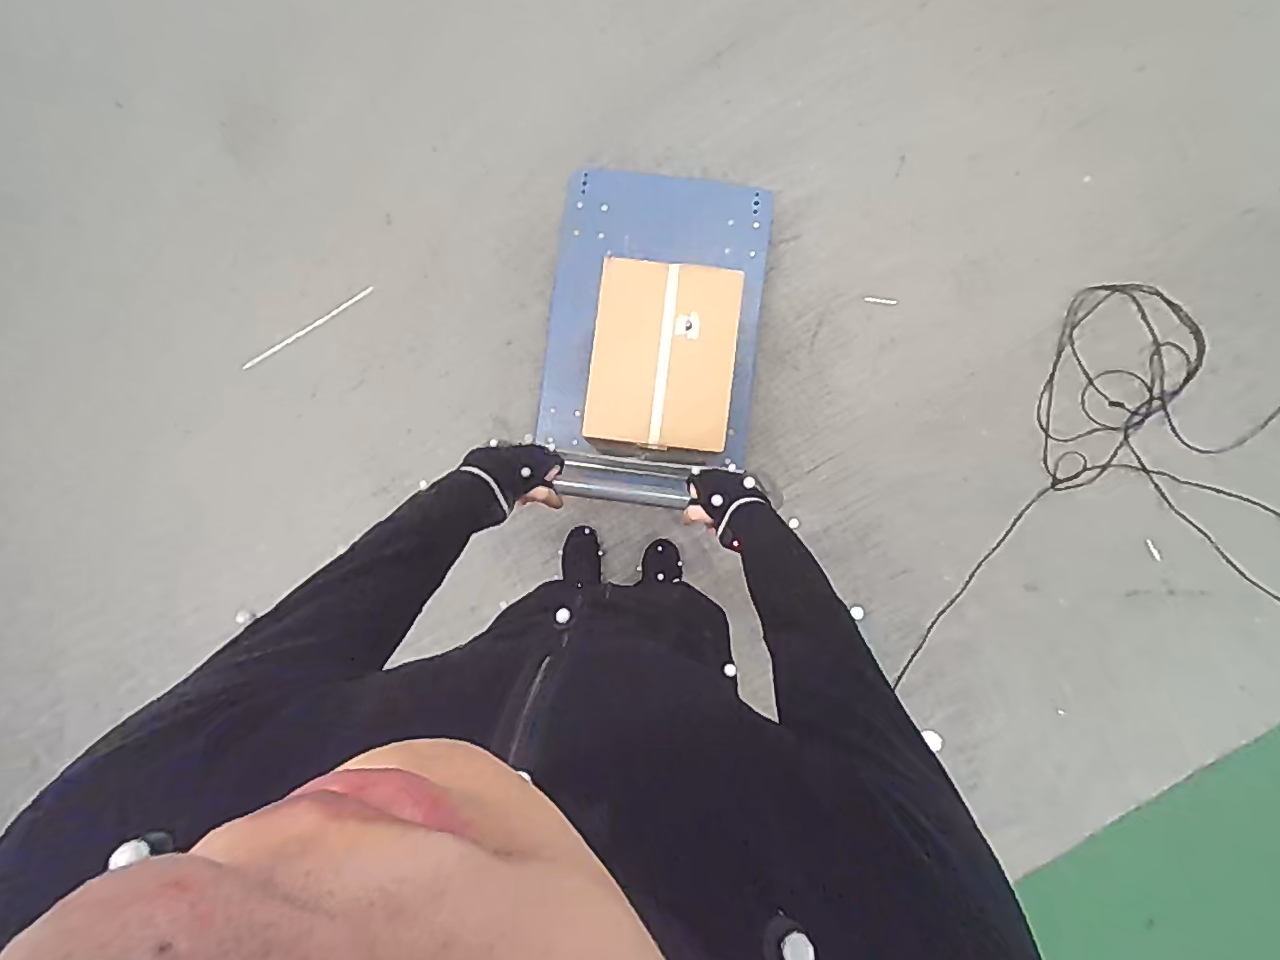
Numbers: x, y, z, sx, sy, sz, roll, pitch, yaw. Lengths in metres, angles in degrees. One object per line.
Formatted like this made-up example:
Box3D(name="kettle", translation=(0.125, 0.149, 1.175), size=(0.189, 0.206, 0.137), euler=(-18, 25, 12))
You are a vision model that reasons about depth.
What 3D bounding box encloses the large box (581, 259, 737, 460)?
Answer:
Box3D(name="large box", translation=(0.047, -0.274, 1.346), size=(0.320, 0.320, 0.408), euler=(7, 87, 1))
